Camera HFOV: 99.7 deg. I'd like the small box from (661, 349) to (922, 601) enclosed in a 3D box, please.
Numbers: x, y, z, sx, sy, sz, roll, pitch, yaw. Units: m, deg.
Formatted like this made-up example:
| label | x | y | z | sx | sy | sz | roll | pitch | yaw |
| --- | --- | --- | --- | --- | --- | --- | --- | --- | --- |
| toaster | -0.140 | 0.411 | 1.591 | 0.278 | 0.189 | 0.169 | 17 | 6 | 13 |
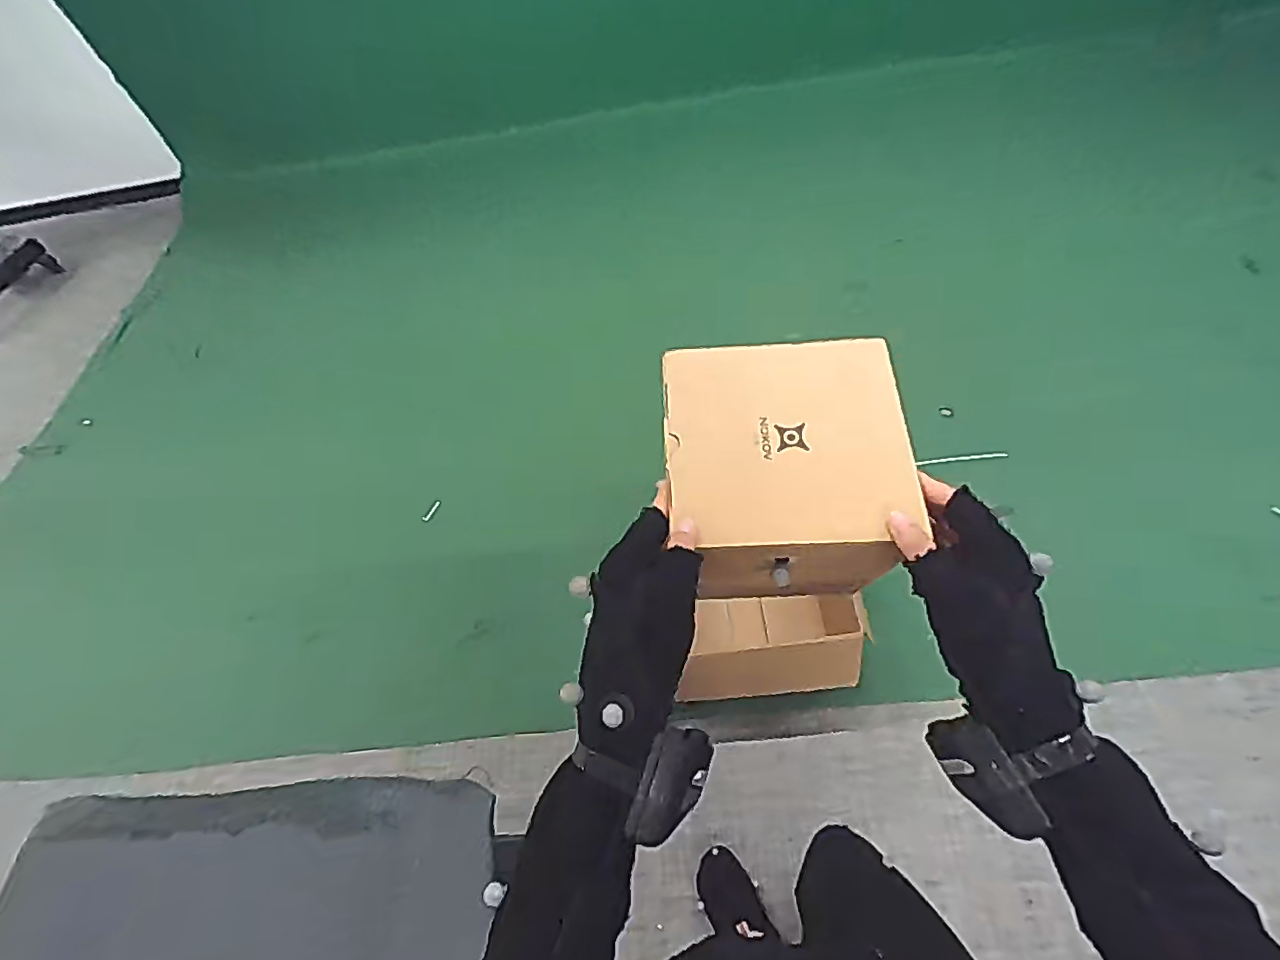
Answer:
| label | x | y | z | sx | sy | sz | roll | pitch | yaw |
| --- | --- | --- | --- | --- | --- | --- | --- | --- | --- |
| small box | 0.109 | 0.007 | 0.470 | 0.179 | 0.176 | 0.168 | -3 | 66 | 5 |
